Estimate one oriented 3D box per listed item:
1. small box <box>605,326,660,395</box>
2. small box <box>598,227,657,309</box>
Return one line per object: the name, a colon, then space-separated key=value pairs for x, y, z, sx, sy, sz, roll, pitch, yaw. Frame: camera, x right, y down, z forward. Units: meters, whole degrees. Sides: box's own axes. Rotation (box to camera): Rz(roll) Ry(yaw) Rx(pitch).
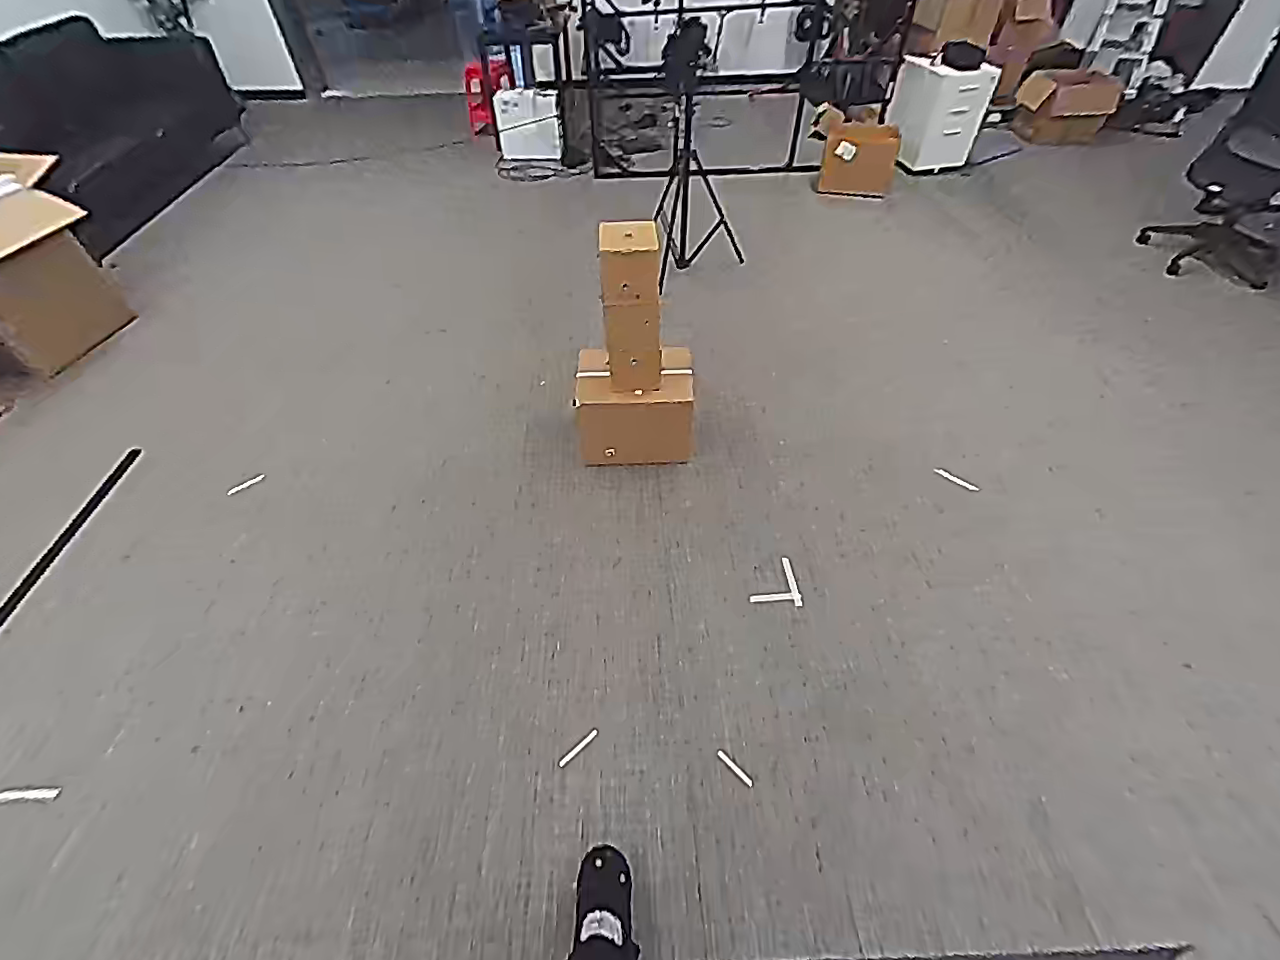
small box: x=-0.024 y=-0.405 z=1.840 sx=0.179 sy=0.176 sz=0.168 roll=-3 pitch=50 yaw=-2
small box: x=-0.039 y=-0.627 z=1.600 sx=0.168 sy=0.176 sz=0.179 roll=-3 pitch=50 yaw=-2
